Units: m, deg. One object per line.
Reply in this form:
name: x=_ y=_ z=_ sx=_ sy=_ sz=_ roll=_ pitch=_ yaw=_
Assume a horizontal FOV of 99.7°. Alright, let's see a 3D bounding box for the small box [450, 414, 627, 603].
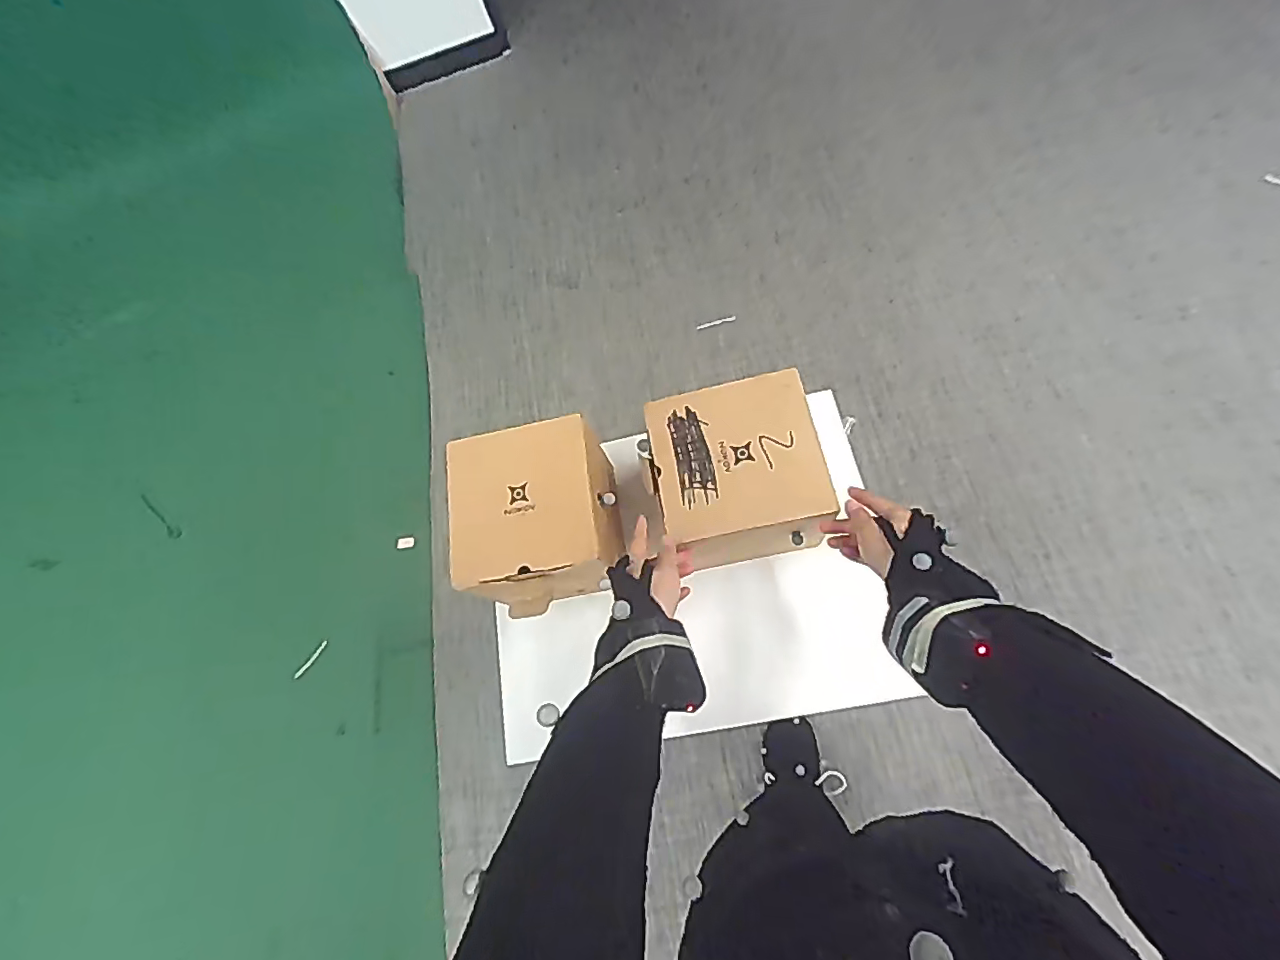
small box: x=-0.118 y=0.045 z=0.667 sx=0.168 sy=0.176 sz=0.179 roll=-11 pitch=70 yaw=6
